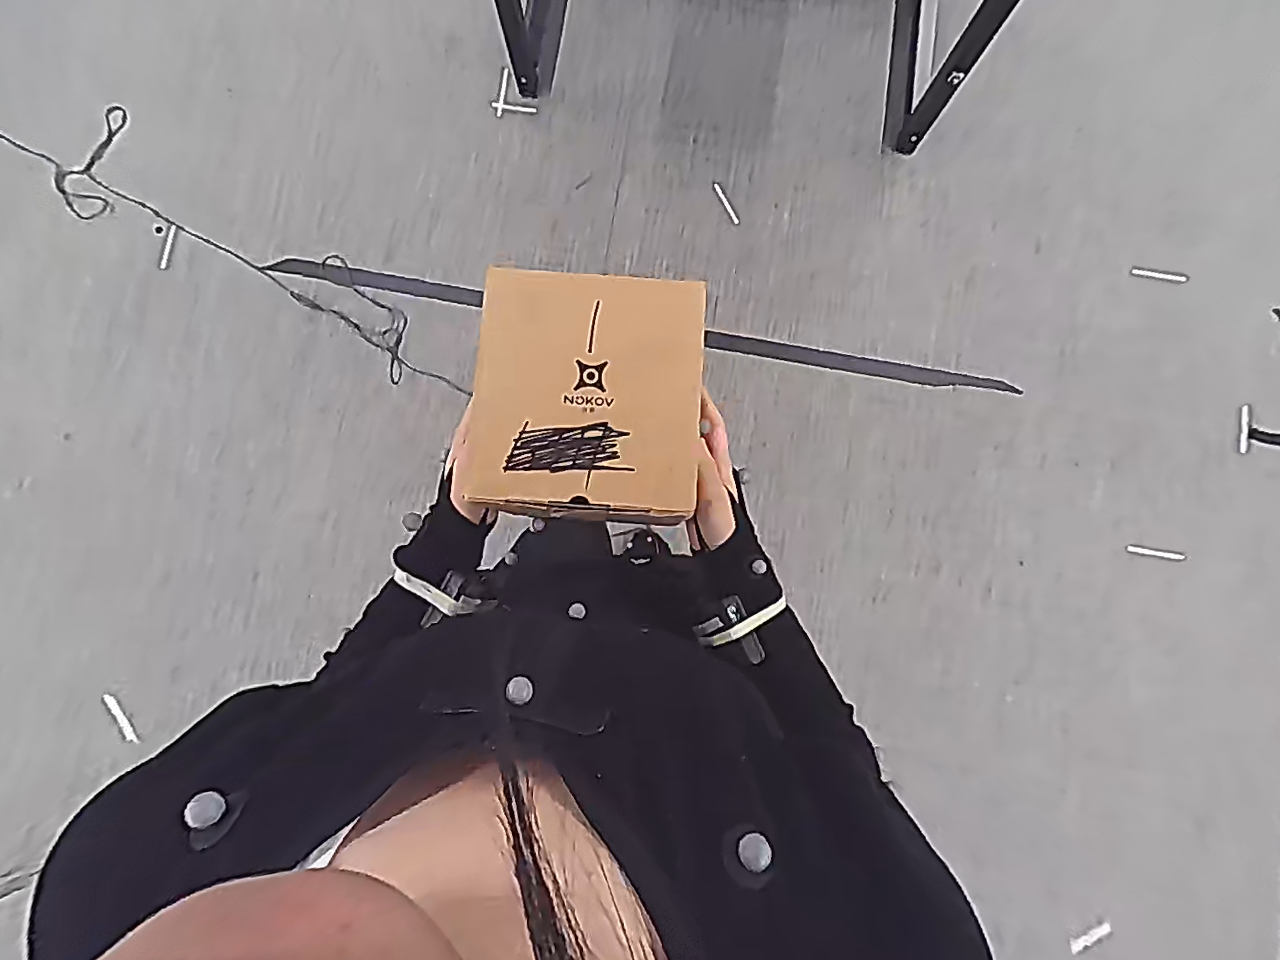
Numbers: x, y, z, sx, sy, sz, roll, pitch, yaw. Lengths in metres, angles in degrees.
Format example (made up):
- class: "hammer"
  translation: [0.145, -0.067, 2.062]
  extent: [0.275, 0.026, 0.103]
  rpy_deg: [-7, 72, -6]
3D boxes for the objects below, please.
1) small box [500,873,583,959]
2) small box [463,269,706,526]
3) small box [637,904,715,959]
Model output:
- class: "small box"
  translation: [-0.239, 1.113, 1.314]
  extent: [0.168, 0.176, 0.179]
  rpy_deg: [12, 84, 0]
- class: "small box"
  translation: [-0.039, -0.055, 0.469]
  extent: [0.168, 0.176, 0.179]
  rpy_deg: [4, 81, -1]
- class: "small box"
  translation: [0.084, 1.172, 1.313]
  extent: [0.179, 0.176, 0.168]
  rpy_deg: [-3, 84, -2]
